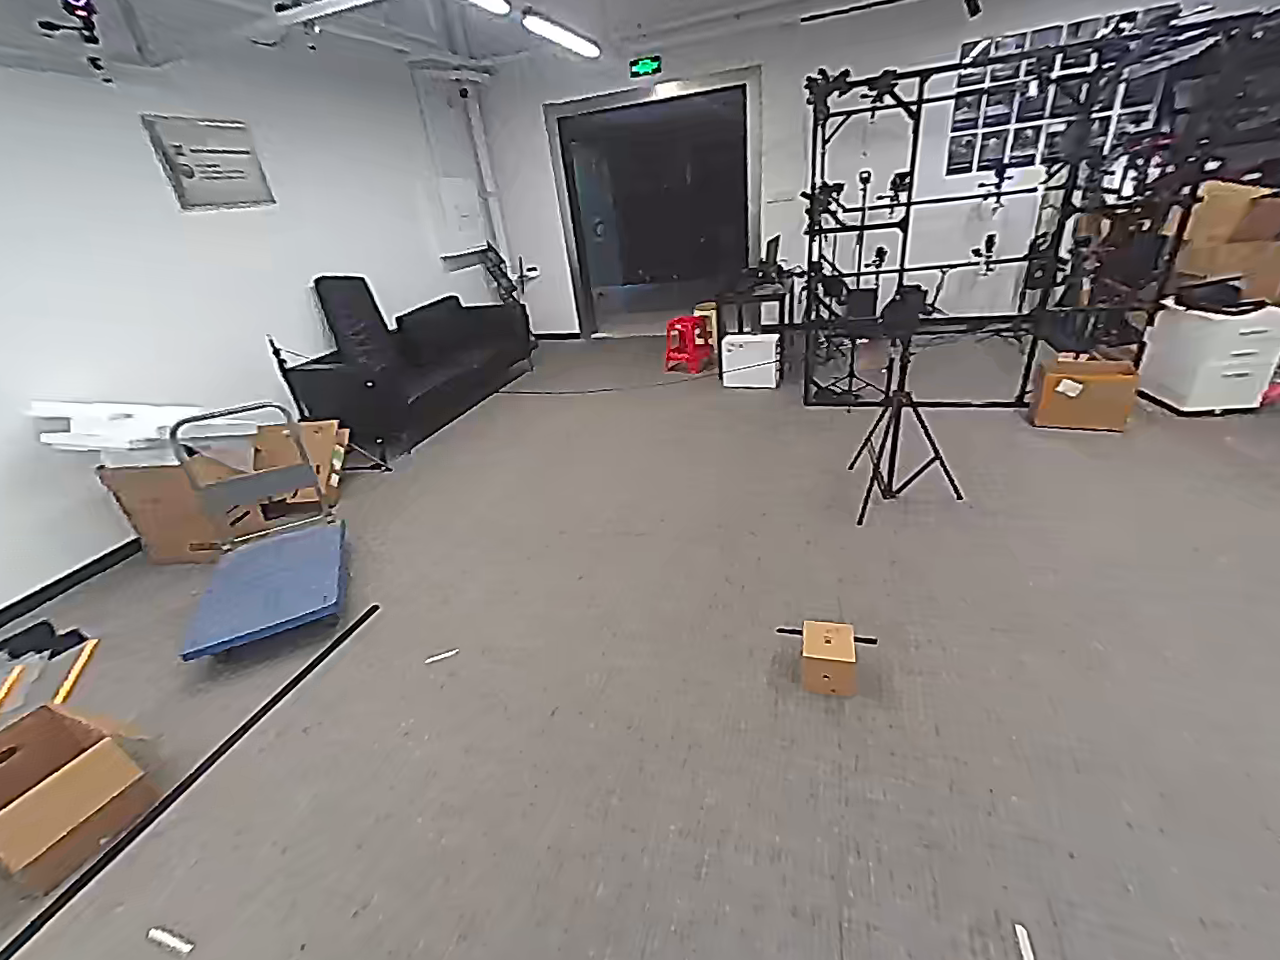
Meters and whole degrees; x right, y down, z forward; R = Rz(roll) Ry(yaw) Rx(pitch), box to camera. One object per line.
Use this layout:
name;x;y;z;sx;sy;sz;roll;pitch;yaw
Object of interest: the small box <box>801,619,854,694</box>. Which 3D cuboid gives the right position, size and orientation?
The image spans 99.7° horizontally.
small box;0.646;0.610;1.868;0.168;0.176;0.179;2;28;17
